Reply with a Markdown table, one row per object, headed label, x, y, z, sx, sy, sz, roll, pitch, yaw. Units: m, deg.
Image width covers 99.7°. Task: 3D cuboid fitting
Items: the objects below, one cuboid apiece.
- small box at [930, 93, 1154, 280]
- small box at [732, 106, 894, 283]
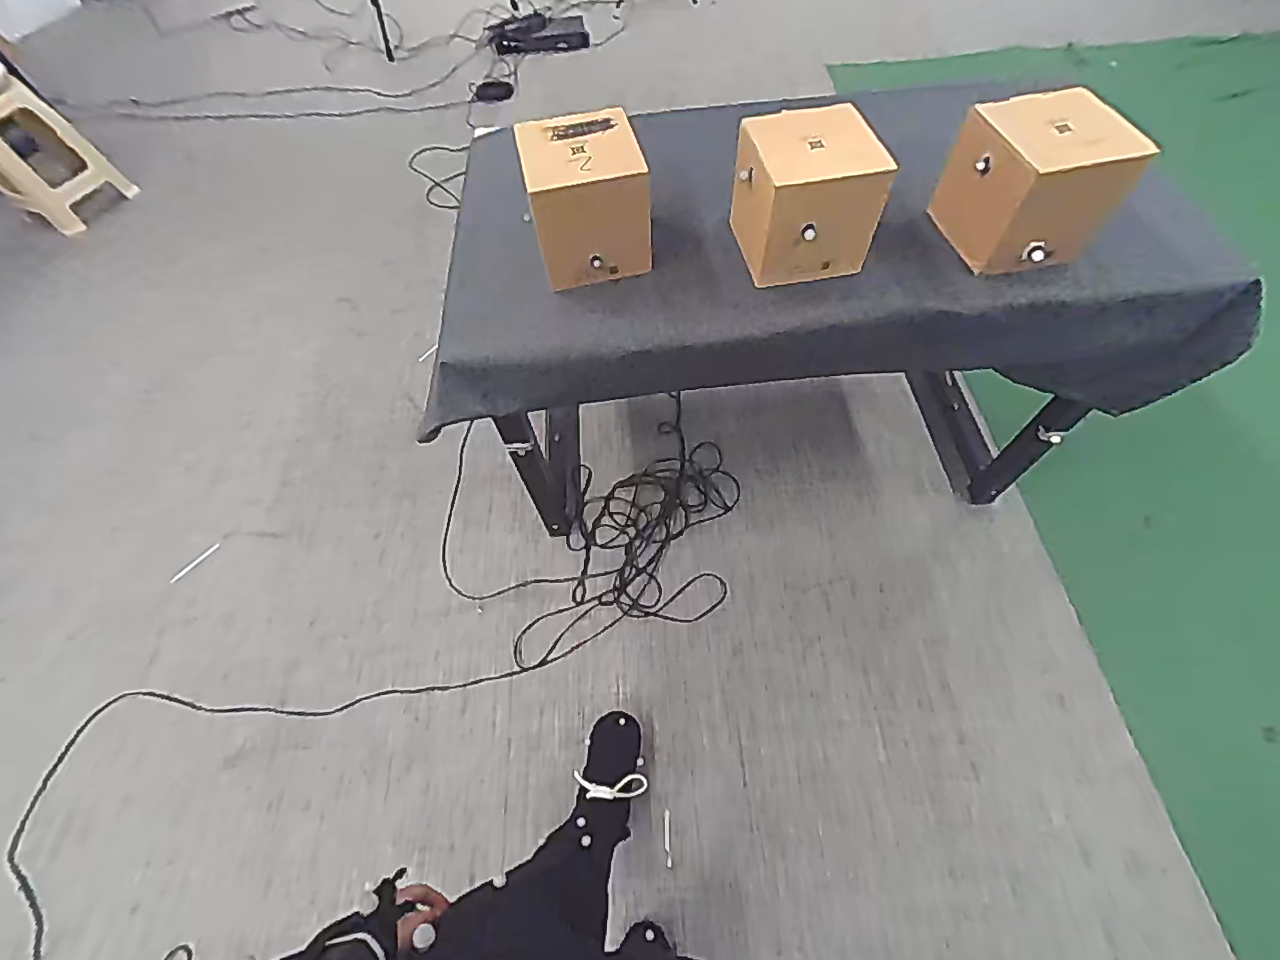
| label | x | y | z | sx | sy | sz | roll | pitch | yaw |
| --- | --- | --- | --- | --- | --- | --- | --- | --- | --- |
| small box | 0.568 | -0.428 | 0.798 | 0.168 | 0.176 | 0.179 | -11 | 60 | -2 |
| small box | 0.242 | -0.415 | 0.807 | 0.168 | 0.176 | 0.179 | -9 | 59 | -3 |
